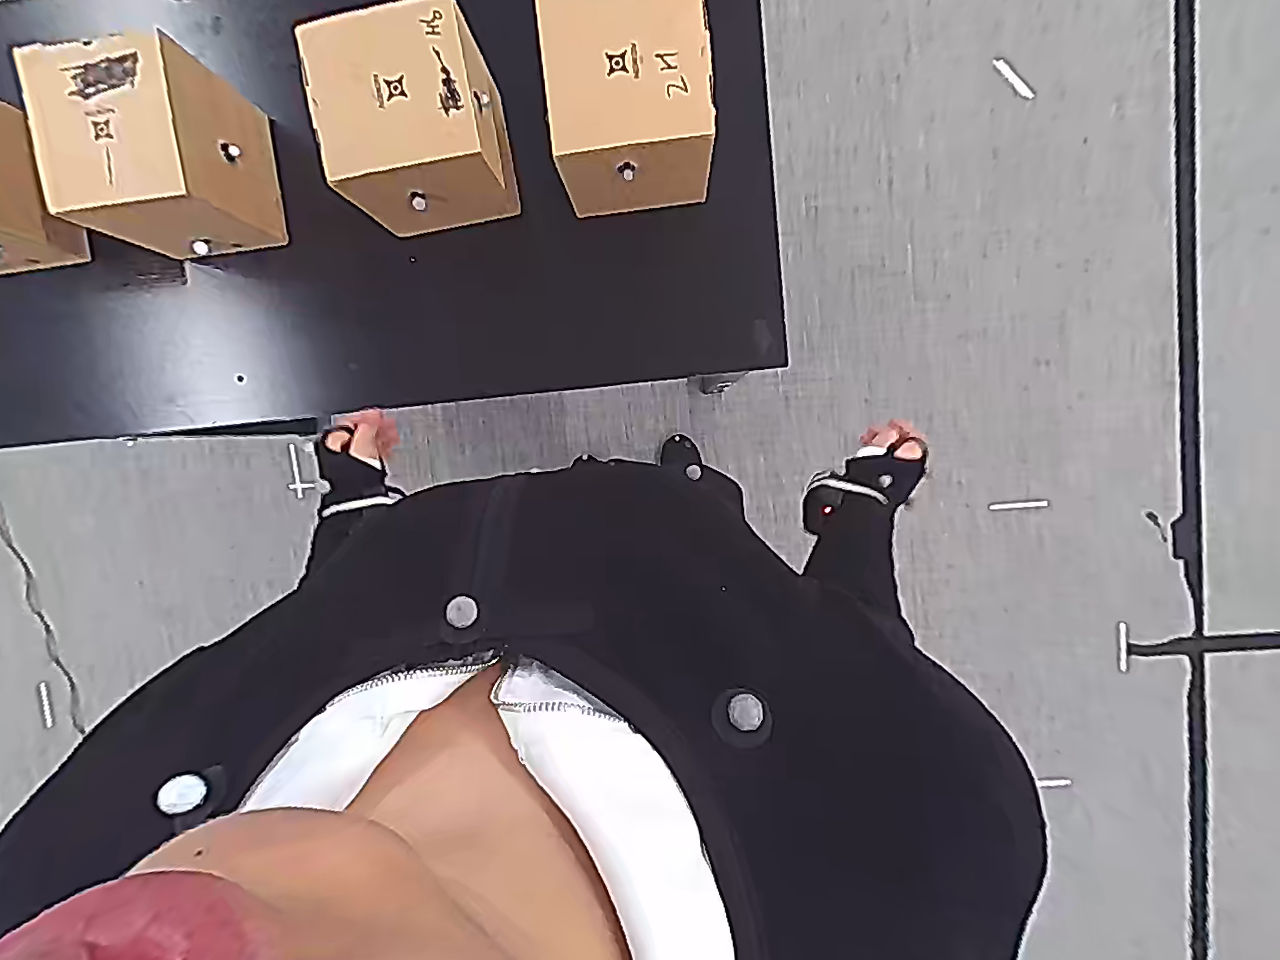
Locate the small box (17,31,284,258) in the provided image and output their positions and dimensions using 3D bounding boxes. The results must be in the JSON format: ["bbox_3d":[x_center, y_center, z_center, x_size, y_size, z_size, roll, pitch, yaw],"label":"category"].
[{"bbox_3d":[-0.585,-0.398,0.671,0.168,0.176,0.179,-6,95,3],"label":"small box"}]

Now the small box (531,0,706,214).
[{"bbox_3d":[-0.018,-0.439,0.648,0.179,0.176,0.168,-6,95,3],"label":"small box"}]

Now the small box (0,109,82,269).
[{"bbox_3d":[-0.872,-0.379,0.683,0.168,0.176,0.179,-7,94,1],"label":"small box"}]

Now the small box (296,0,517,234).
[{"bbox_3d":[-0.268,-0.422,0.659,0.179,0.176,0.168,-10,95,3],"label":"small box"}]
